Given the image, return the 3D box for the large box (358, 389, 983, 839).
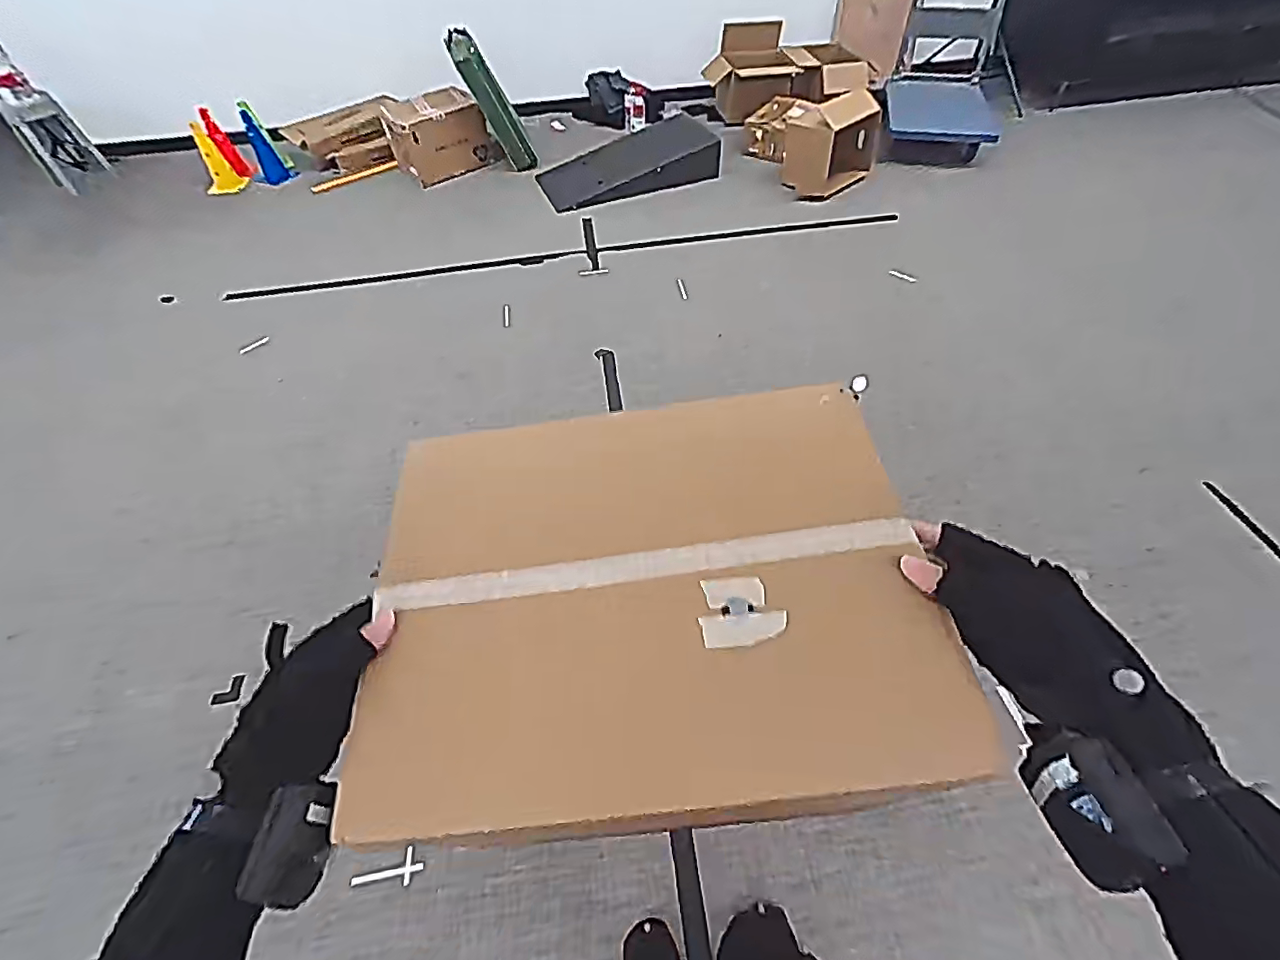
[{"bbox_3d":[0.016,0.150,0.541,0.408,0.320,0.320,-7,56,2],"label":"large box"}]
